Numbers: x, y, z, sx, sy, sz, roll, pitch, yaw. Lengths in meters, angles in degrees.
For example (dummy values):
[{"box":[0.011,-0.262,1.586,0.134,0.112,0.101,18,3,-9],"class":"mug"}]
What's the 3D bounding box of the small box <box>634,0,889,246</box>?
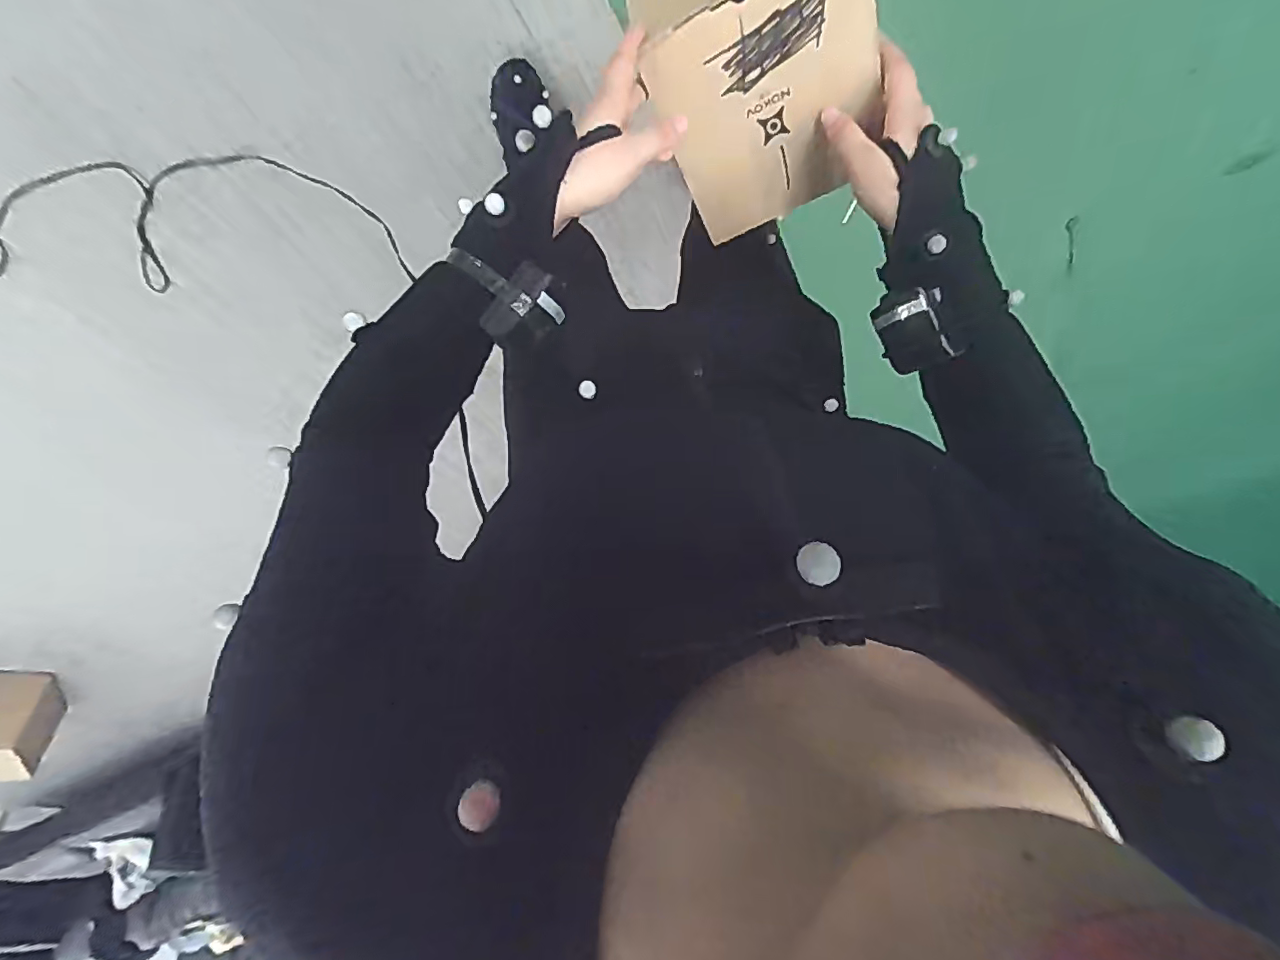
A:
[{"box":[0.103,-0.356,0.476,0.168,0.176,0.179,-17,144,20],"class":"small box"}]
